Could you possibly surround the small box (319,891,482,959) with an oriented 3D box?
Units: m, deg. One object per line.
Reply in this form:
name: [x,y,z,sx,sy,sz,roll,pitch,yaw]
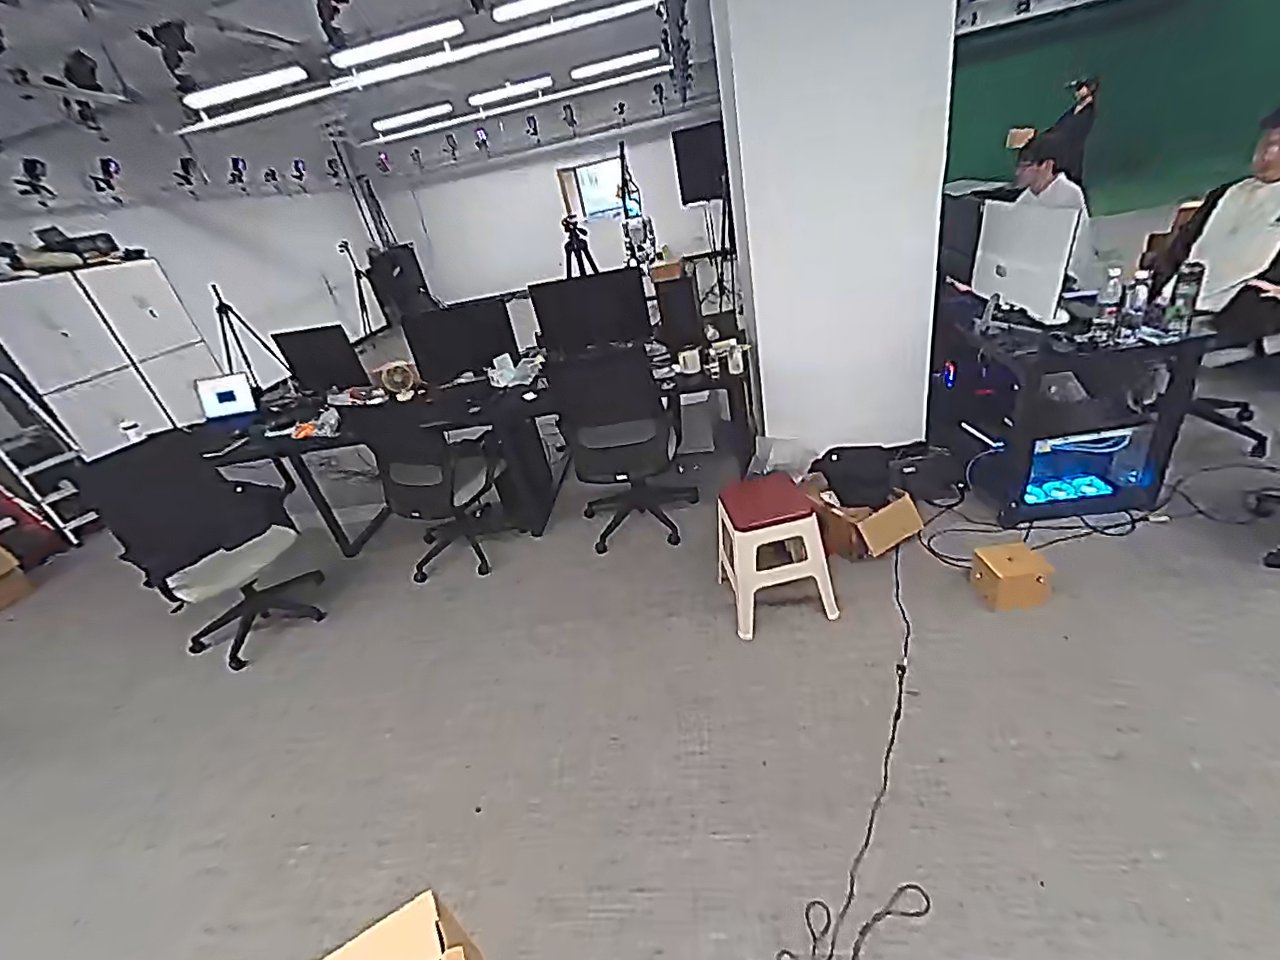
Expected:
small box: [-0.219,0.518,0.461,0.179,0.176,0.168,-23,35,-22]
